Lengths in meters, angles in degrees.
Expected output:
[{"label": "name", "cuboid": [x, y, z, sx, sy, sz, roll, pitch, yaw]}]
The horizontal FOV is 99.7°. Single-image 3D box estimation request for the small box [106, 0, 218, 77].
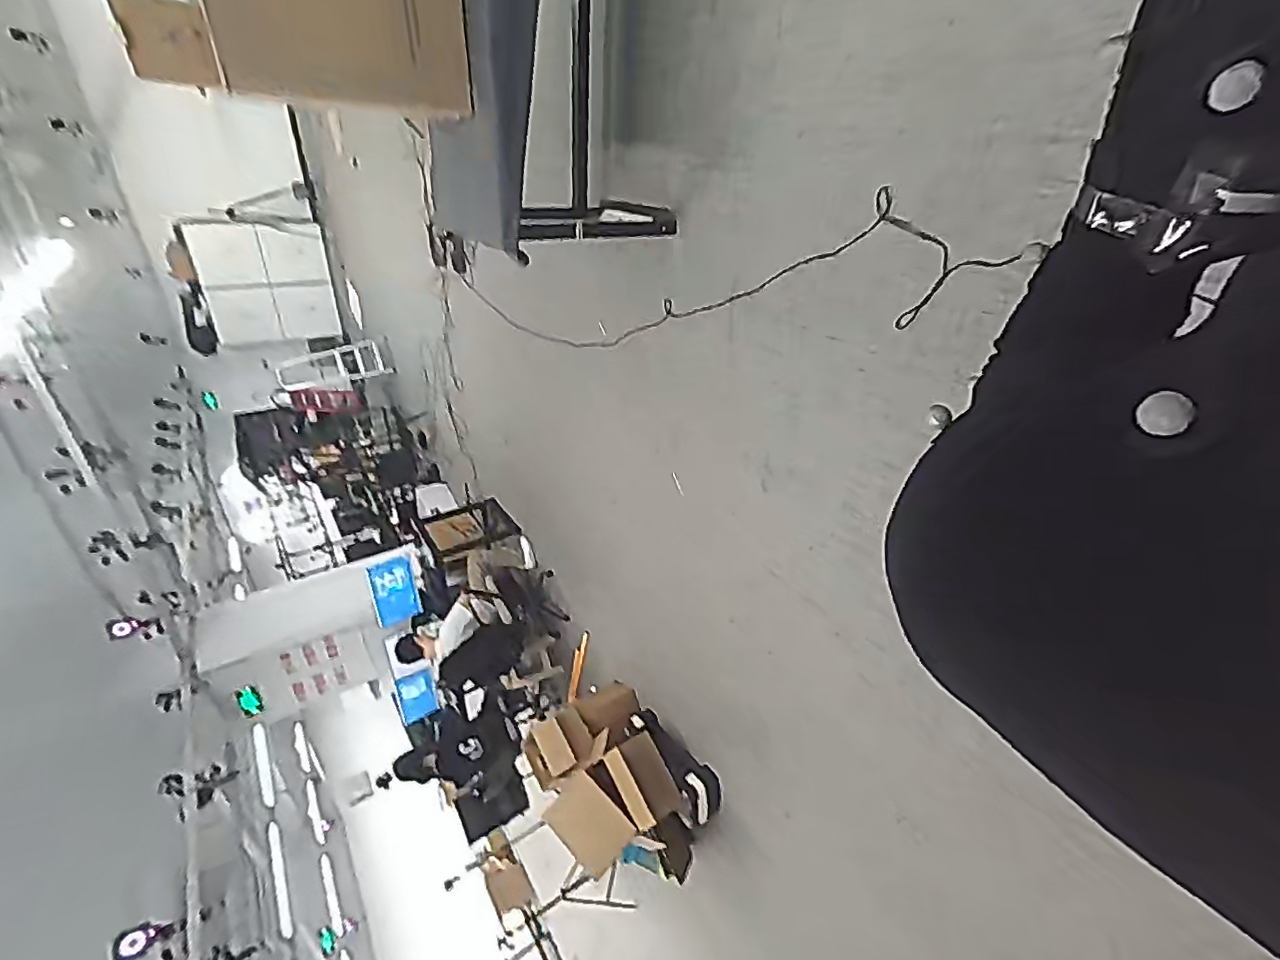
[{"label": "small box", "cuboid": [-1.130, -1.066, 1.279, 0.179, 0.176, 0.168, 35, 133, 41]}]
